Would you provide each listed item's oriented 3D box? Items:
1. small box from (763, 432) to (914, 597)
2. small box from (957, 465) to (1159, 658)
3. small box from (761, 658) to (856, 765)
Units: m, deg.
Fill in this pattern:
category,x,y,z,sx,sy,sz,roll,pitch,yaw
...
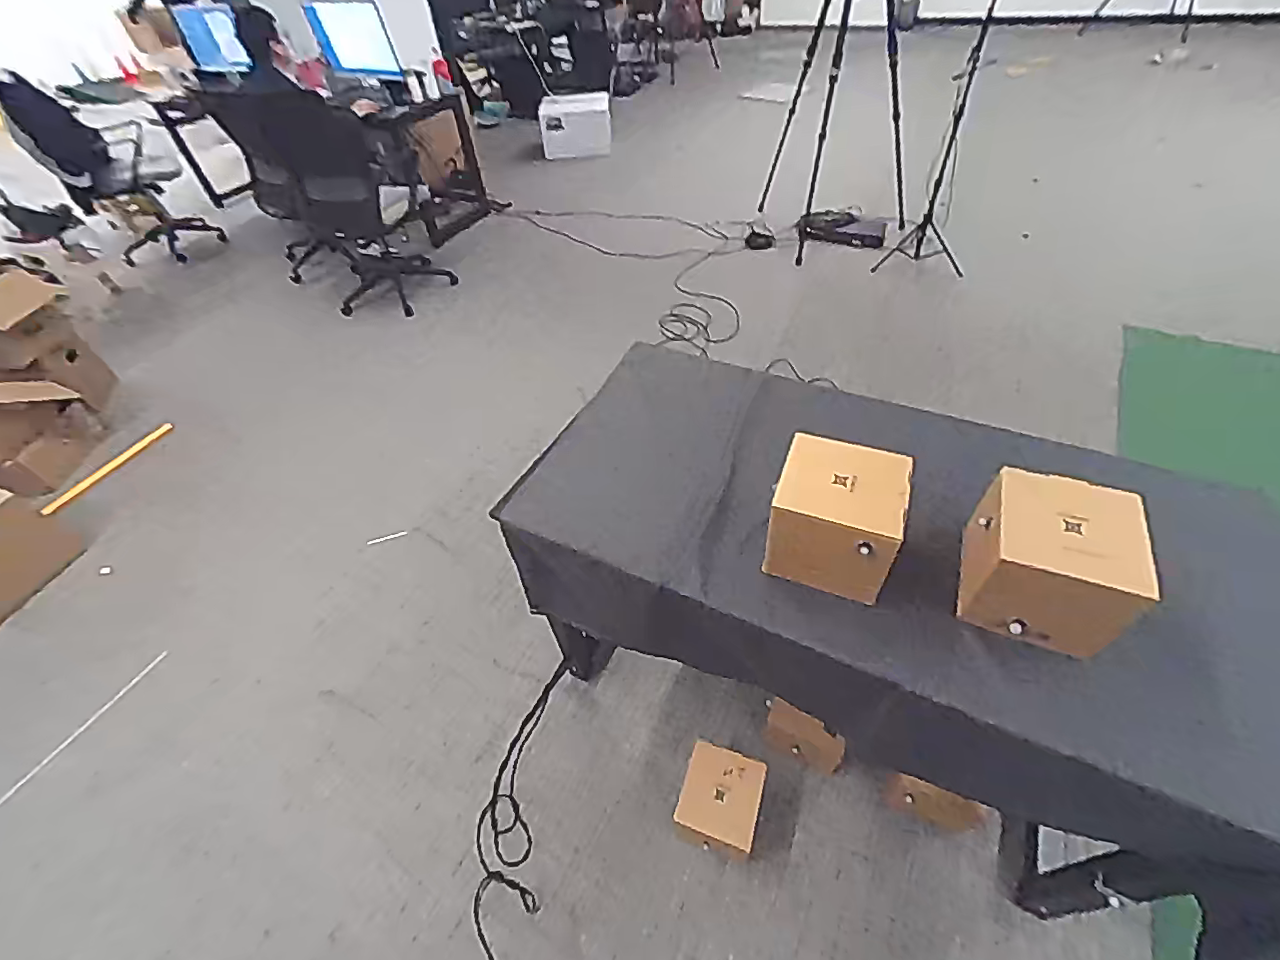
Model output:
category,x,y,z,sx,sy,sz,roll,pitch,yaw
small box,0.297,0.055,0.832,0.179,0.176,0.168,16,51,18
small box,0.563,0.113,0.753,0.168,0.176,0.179,16,52,20
small box,0.410,0.575,1.331,0.179,0.176,0.168,17,52,21
